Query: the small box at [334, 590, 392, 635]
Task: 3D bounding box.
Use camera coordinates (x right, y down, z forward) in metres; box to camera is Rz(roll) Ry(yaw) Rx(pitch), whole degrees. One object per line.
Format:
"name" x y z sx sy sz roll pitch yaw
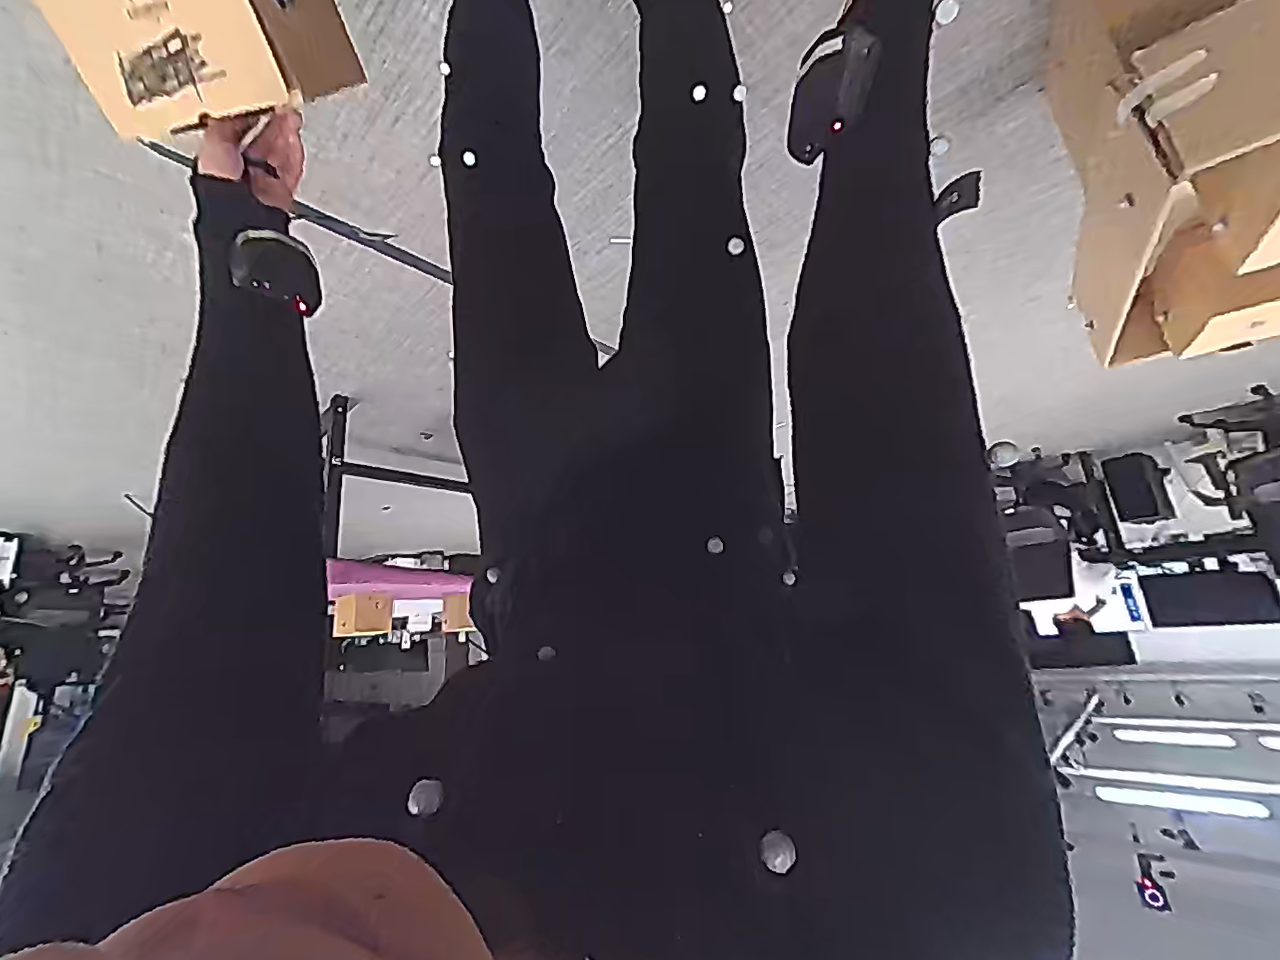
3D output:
"small box" -1.193 0.575 2.339 0.179 0.176 0.168 -17 160 33

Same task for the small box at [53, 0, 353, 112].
"small box" -0.394 -0.457 0.480 0.168 0.176 0.179 -10 131 4

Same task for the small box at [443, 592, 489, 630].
"small box" -0.861 0.654 2.689 0.168 0.176 0.179 11 157 -43

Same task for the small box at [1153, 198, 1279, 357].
"small box" 1.013 -0.339 0.910 0.168 0.176 0.179 -15 160 27
